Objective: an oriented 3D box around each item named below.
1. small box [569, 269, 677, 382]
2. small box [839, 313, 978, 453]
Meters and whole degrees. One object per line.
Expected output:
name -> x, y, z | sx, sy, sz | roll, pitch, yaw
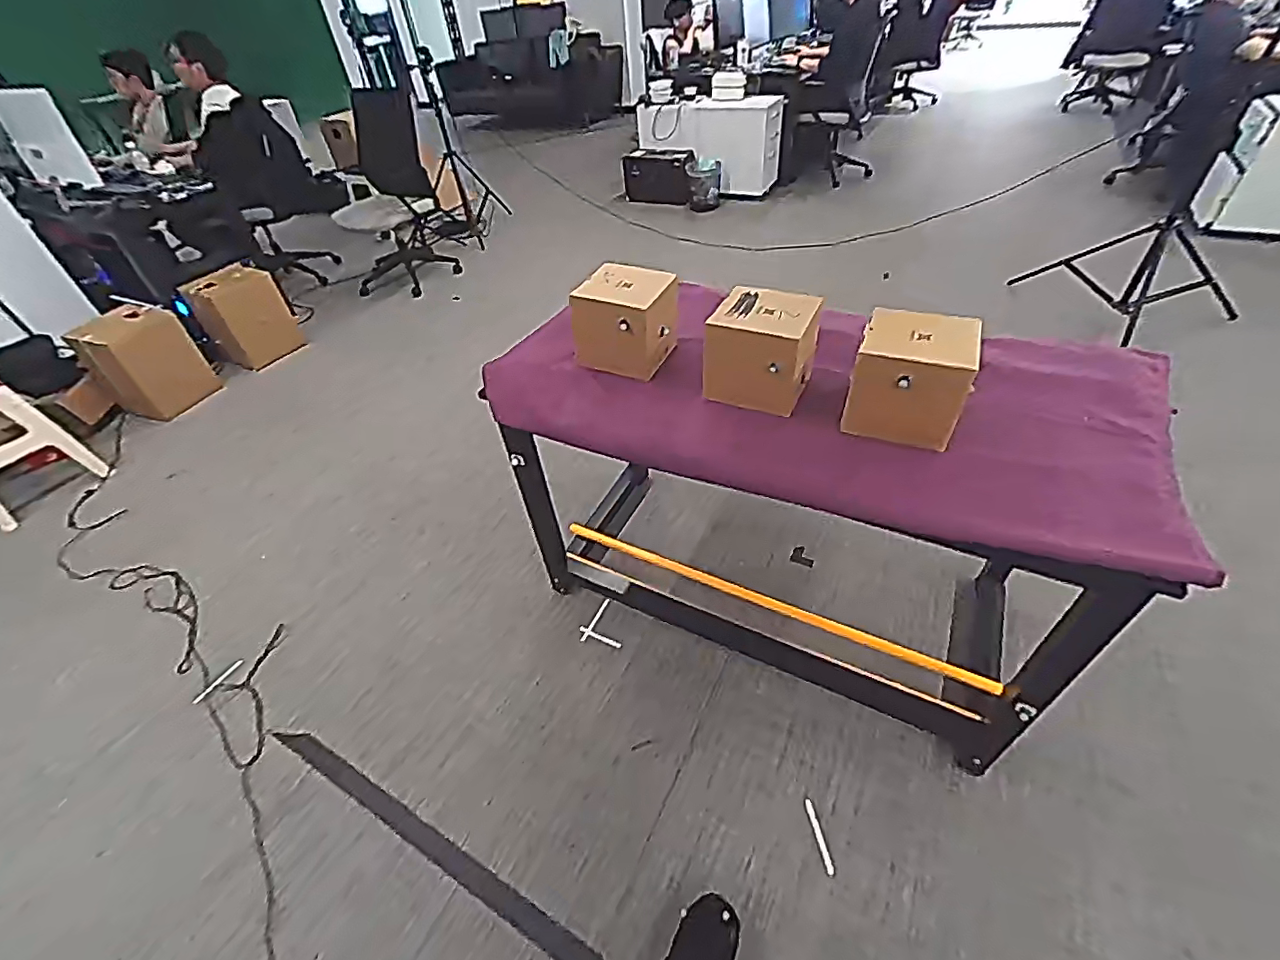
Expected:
small box -> -0.030, -0.332, 1.175 | 0.179, 0.176, 0.168 | 17, 47, 19
small box -> 0.468, -0.170, 0.953 | 0.179, 0.176, 0.168 | 15, 47, 21
